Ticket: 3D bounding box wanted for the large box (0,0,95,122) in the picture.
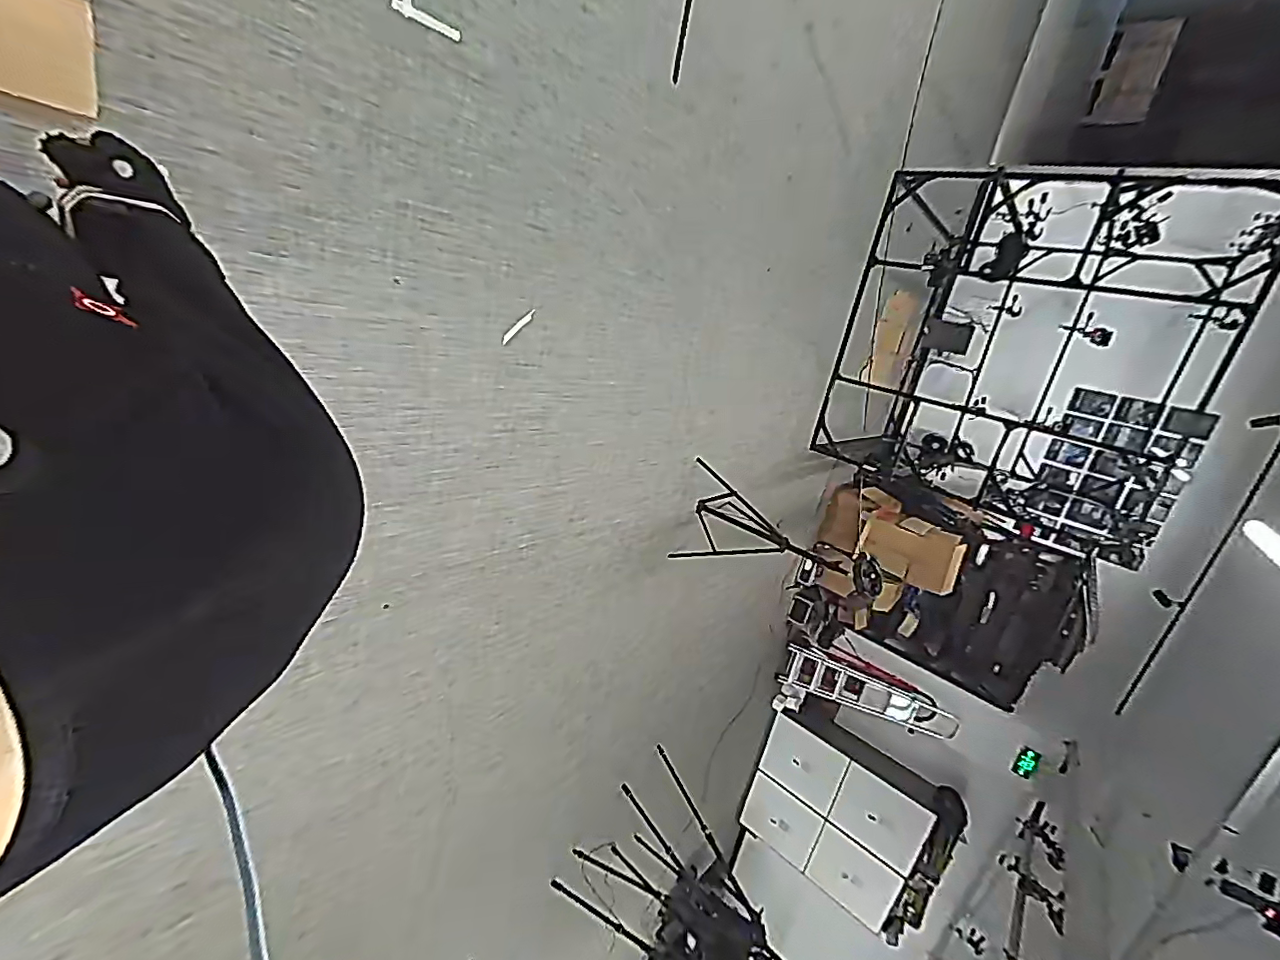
[{"bbox_3d":[-0.994,-0.693,0.663,0.408,0.320,0.320,-10,118,-52],"label":"large box"}]
